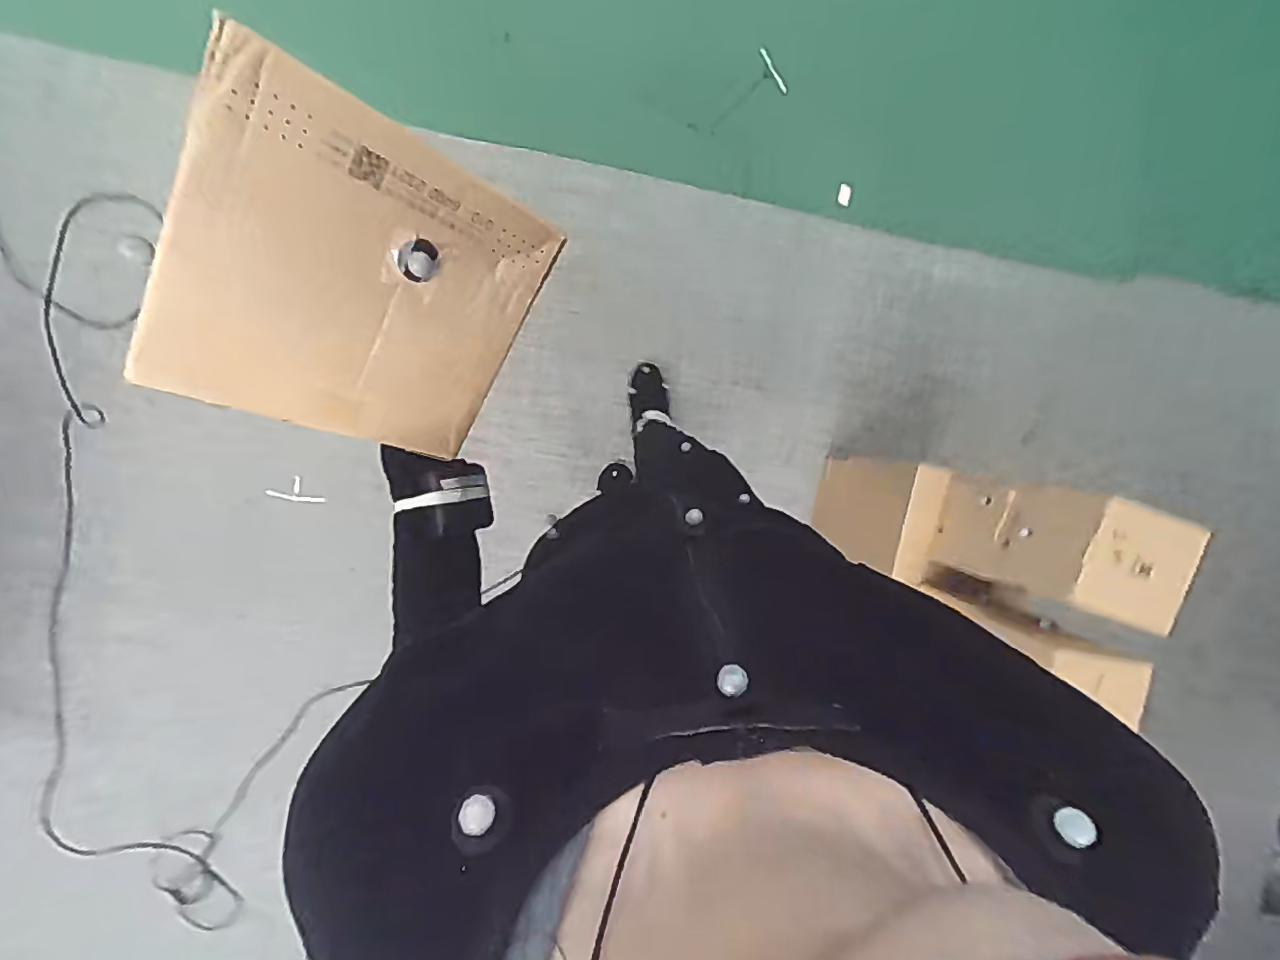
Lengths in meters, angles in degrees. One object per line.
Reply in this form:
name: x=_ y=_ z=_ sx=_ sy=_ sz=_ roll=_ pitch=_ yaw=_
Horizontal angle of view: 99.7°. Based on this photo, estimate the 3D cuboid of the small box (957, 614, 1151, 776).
small box: x=0.651 y=0.337 z=0.873 sx=0.168 sy=0.176 sz=0.179 roll=11 pitch=92 yaw=-6

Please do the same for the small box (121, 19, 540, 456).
small box: x=-0.188 y=-0.145 z=0.344 sx=0.168 sy=0.179 sz=0.176 roll=16 pitch=112 yaw=-42
